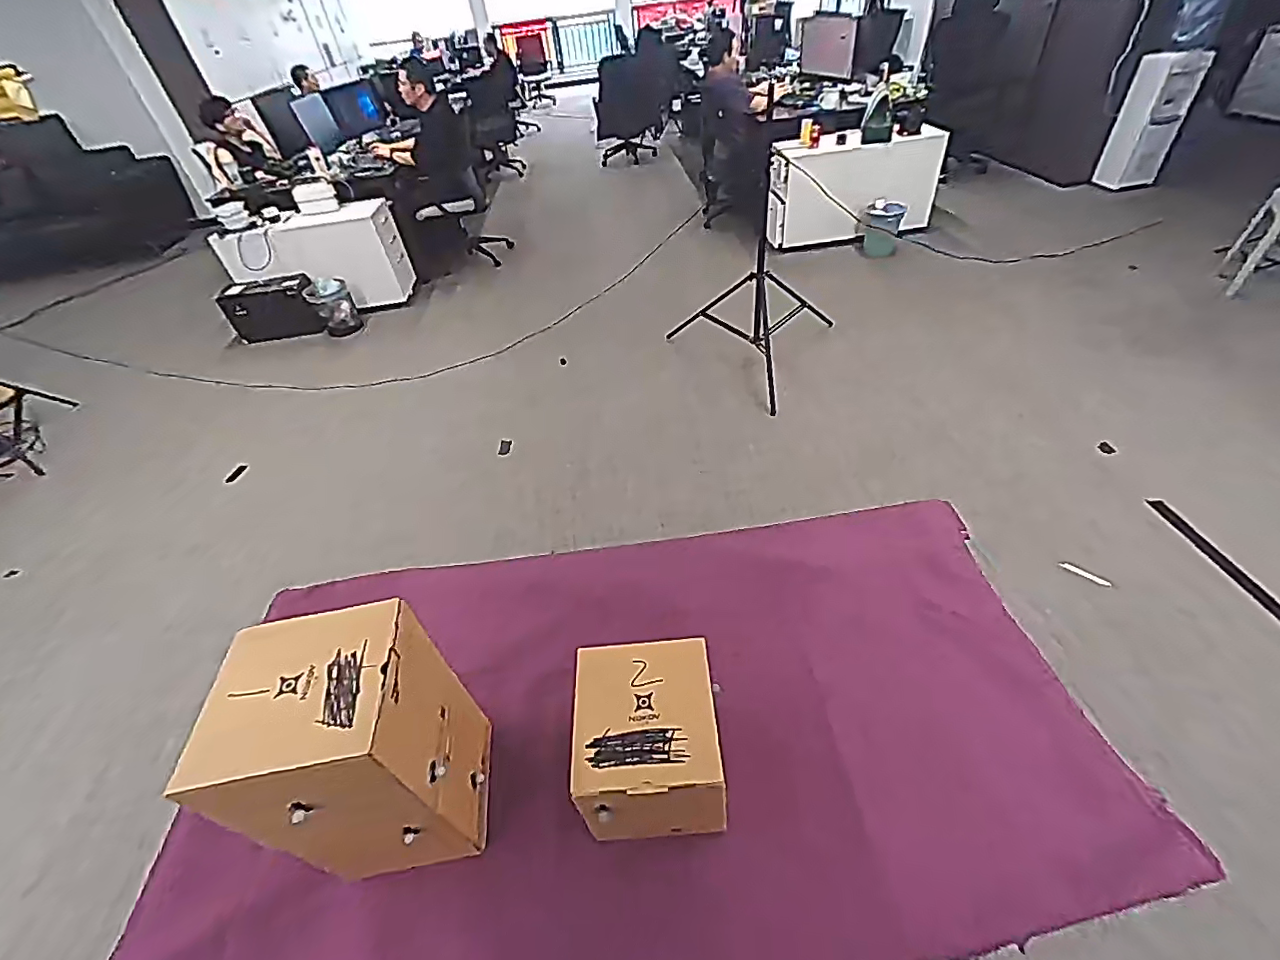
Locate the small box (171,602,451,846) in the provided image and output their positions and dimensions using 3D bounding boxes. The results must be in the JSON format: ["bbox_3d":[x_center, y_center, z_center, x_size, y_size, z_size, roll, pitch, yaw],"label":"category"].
[{"bbox_3d":[-0.316,0.258,0.572,0.179,0.176,0.168,-11,42,-3],"label":"small box"}]

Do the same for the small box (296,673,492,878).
[{"bbox_3d":[-0.302,0.376,0.686,0.179,0.176,0.168,-10,42,-3],"label":"small box"}]
